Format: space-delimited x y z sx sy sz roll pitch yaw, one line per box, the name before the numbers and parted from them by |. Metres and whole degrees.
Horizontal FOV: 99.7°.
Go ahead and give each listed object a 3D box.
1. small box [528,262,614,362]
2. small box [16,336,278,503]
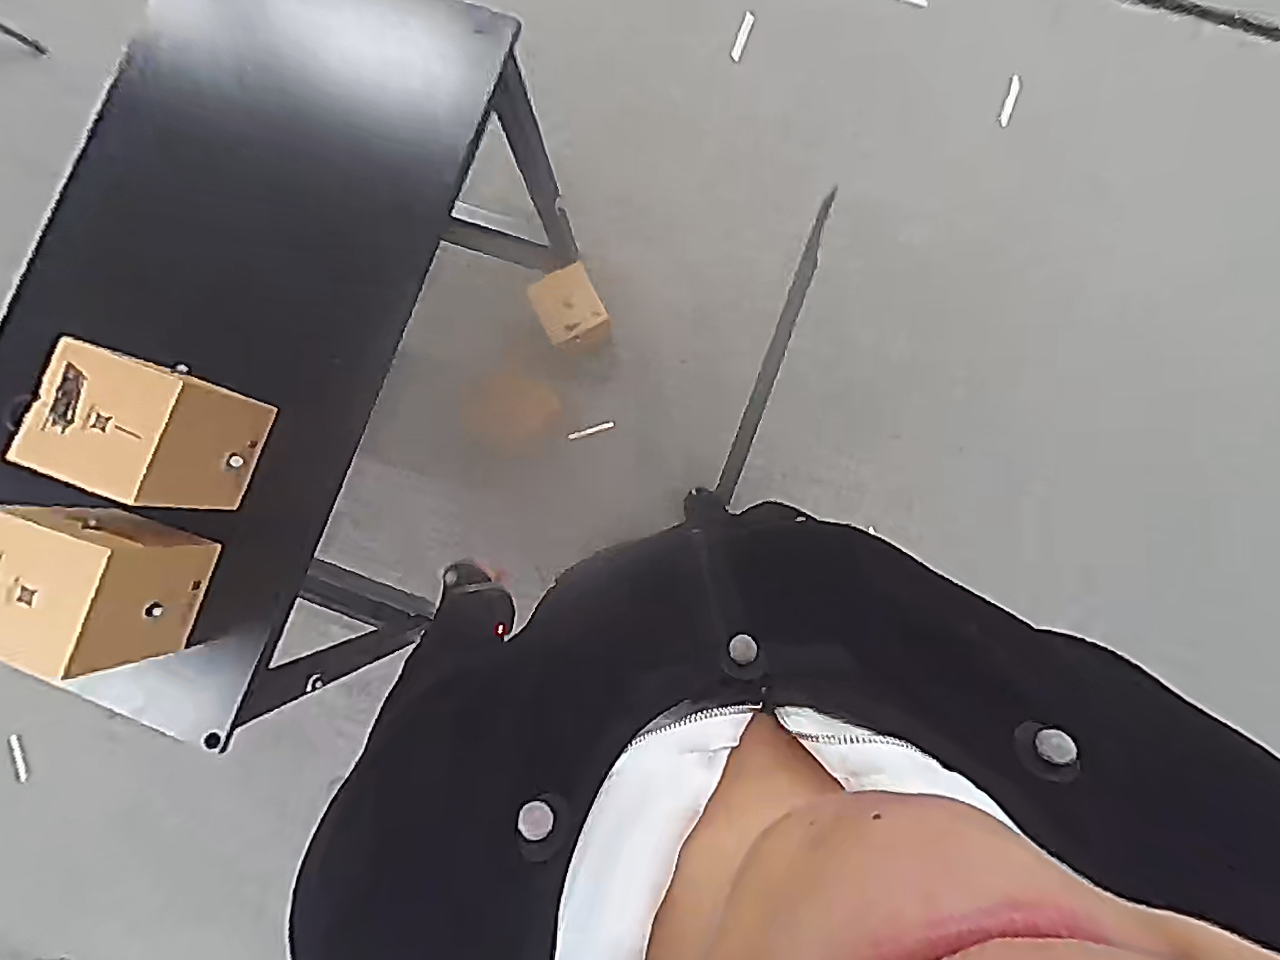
small box | -0.184 -0.454 1.486 0.168 0.176 0.179 -26 85 0
small box | -0.657 -0.070 0.744 0.179 0.176 0.168 20 87 3
